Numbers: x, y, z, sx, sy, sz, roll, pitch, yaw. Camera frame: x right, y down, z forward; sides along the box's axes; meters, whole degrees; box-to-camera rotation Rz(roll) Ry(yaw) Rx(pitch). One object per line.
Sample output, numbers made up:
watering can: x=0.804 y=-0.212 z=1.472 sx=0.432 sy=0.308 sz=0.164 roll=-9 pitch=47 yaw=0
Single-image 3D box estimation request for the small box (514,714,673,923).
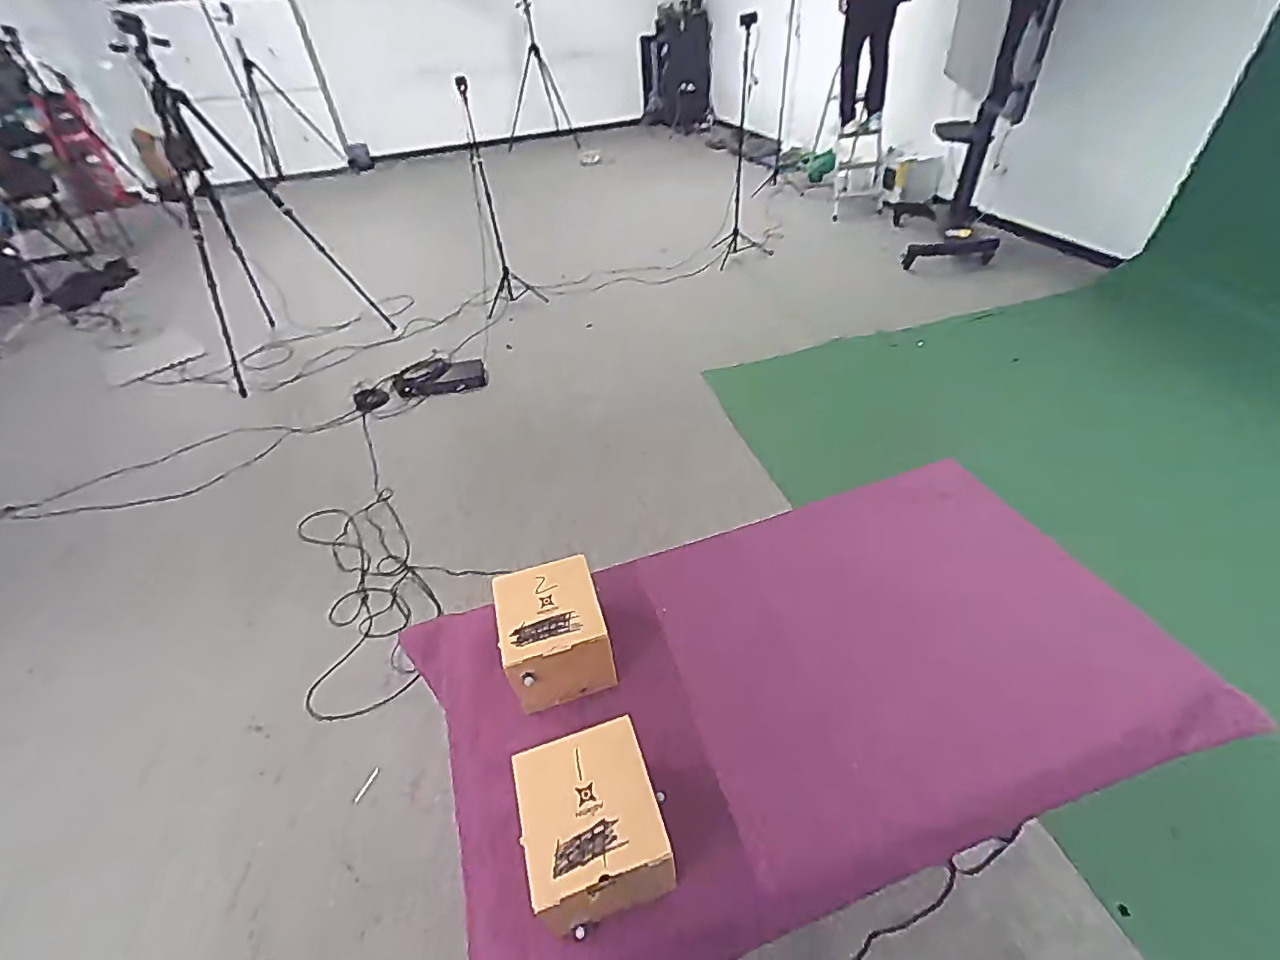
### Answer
small box: x=-0.058 y=0.452 z=0.719 sx=0.168 sy=0.176 sz=0.179 roll=-15 pitch=42 yaw=-11
